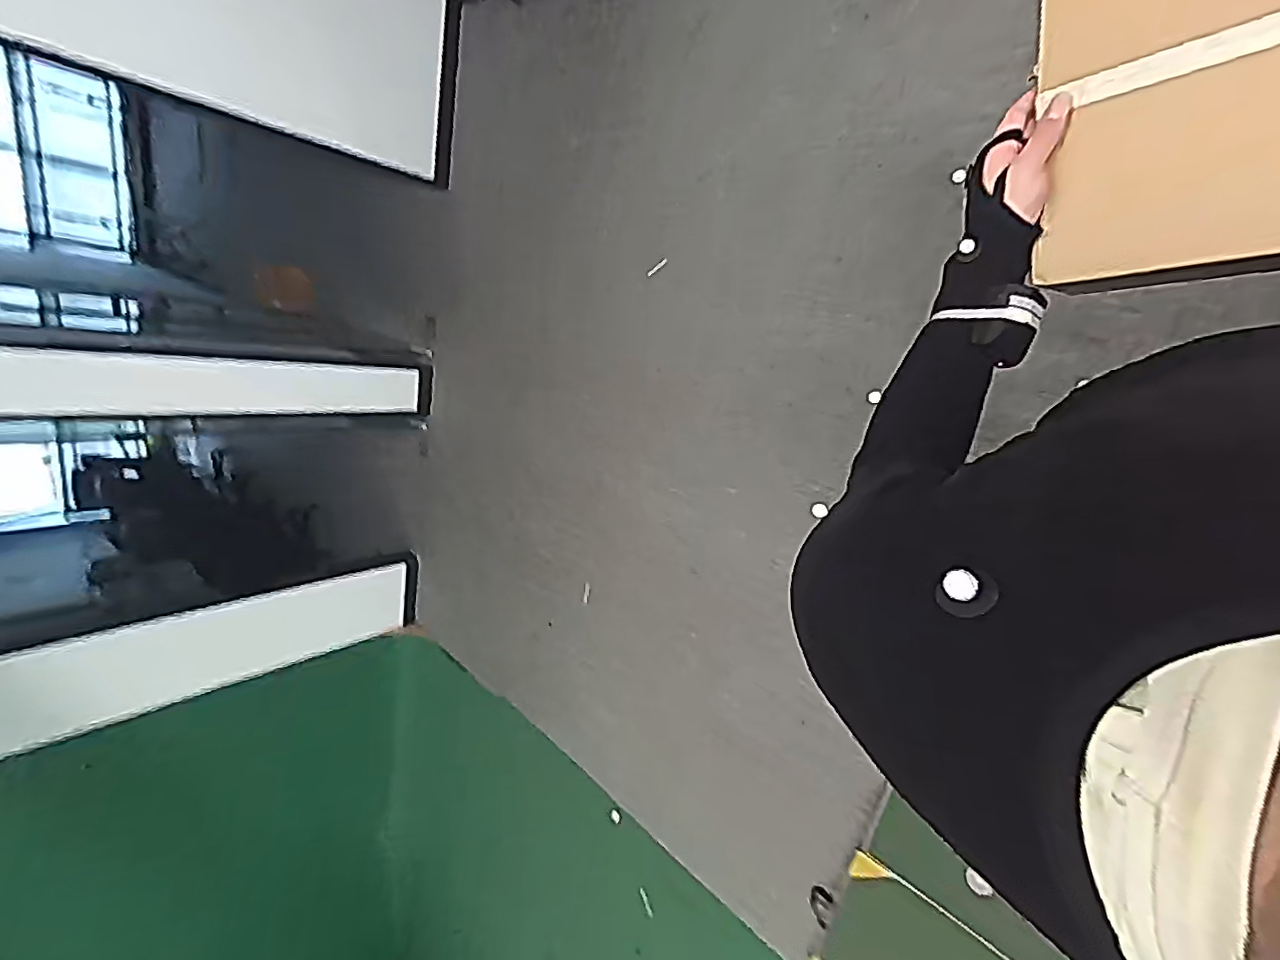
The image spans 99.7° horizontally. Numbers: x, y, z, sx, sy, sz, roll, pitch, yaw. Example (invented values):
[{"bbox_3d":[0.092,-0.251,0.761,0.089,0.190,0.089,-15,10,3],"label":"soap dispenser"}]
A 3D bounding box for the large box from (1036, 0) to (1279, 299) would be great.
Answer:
[{"bbox_3d":[0.613,-0.360,0.478,0.408,0.320,0.320,3,105,42],"label":"large box"}]
